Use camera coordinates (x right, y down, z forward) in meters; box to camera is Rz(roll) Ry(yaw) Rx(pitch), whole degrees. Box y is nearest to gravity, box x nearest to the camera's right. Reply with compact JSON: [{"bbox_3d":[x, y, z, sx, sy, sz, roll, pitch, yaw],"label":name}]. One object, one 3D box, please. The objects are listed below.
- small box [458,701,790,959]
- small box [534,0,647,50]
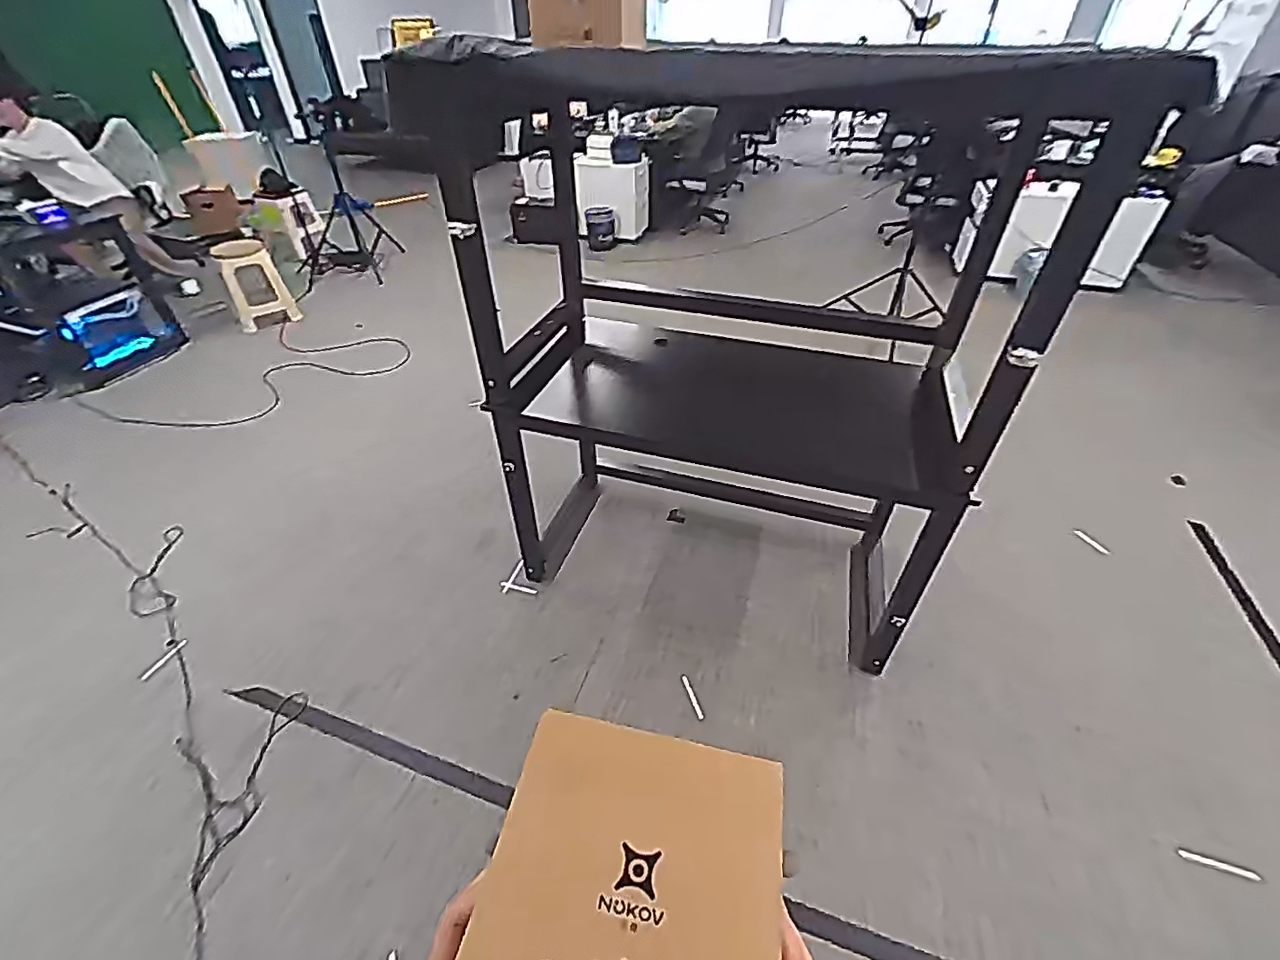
[{"bbox_3d":[-0.004,0.281,0.351,0.168,0.176,0.179,10,42,8],"label":"small box"},{"bbox_3d":[-0.082,-0.854,0.936,0.168,0.176,0.179,10,40,10],"label":"small box"}]
